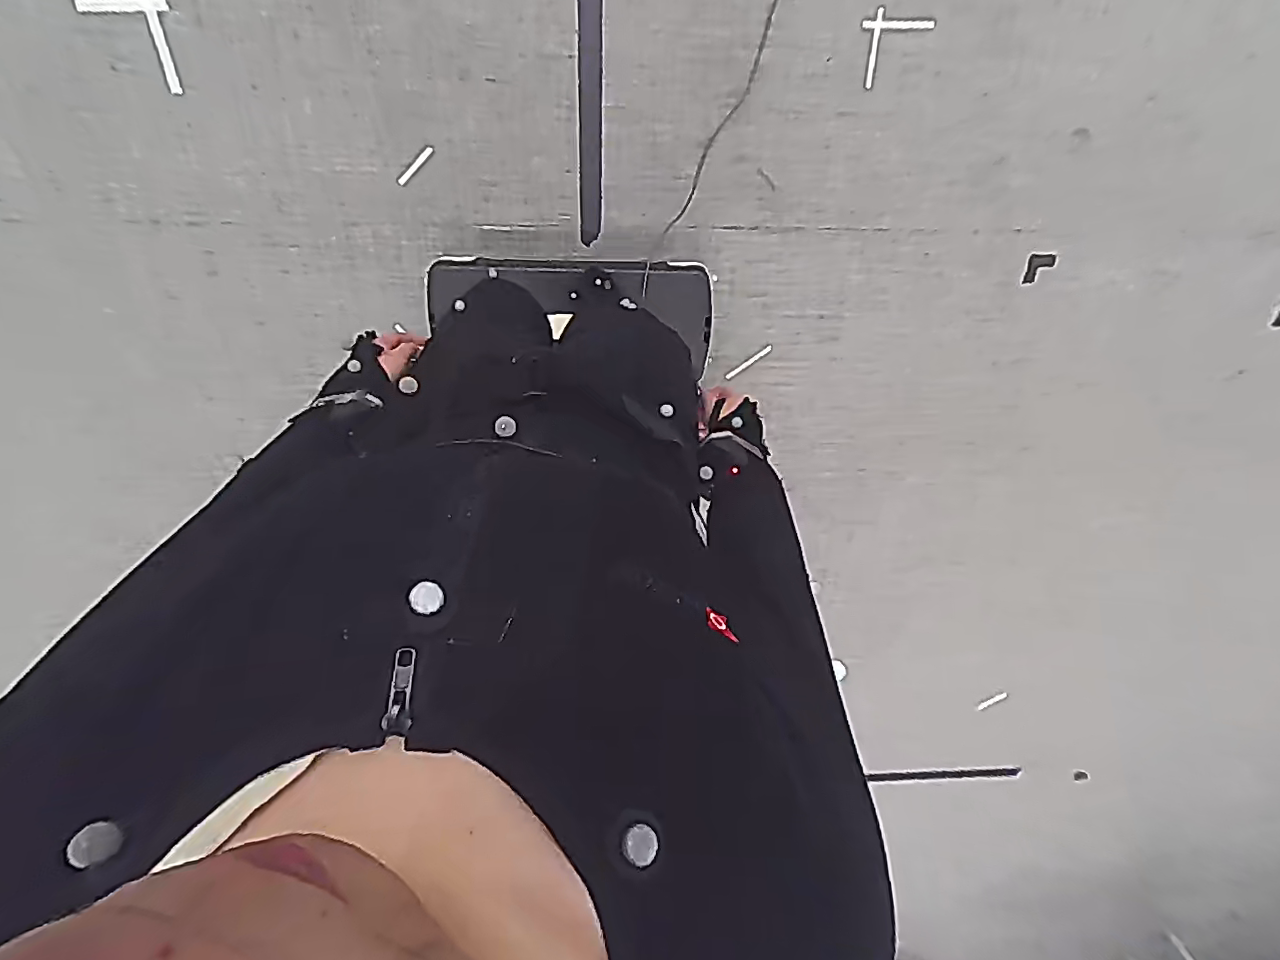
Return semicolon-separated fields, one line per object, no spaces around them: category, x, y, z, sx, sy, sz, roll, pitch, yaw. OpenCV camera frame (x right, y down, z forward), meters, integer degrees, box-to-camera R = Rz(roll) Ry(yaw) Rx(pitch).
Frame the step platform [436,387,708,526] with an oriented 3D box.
step platform;-0.167;-0.058;1.404;0.684;0.204;0.286;4;114;-4
